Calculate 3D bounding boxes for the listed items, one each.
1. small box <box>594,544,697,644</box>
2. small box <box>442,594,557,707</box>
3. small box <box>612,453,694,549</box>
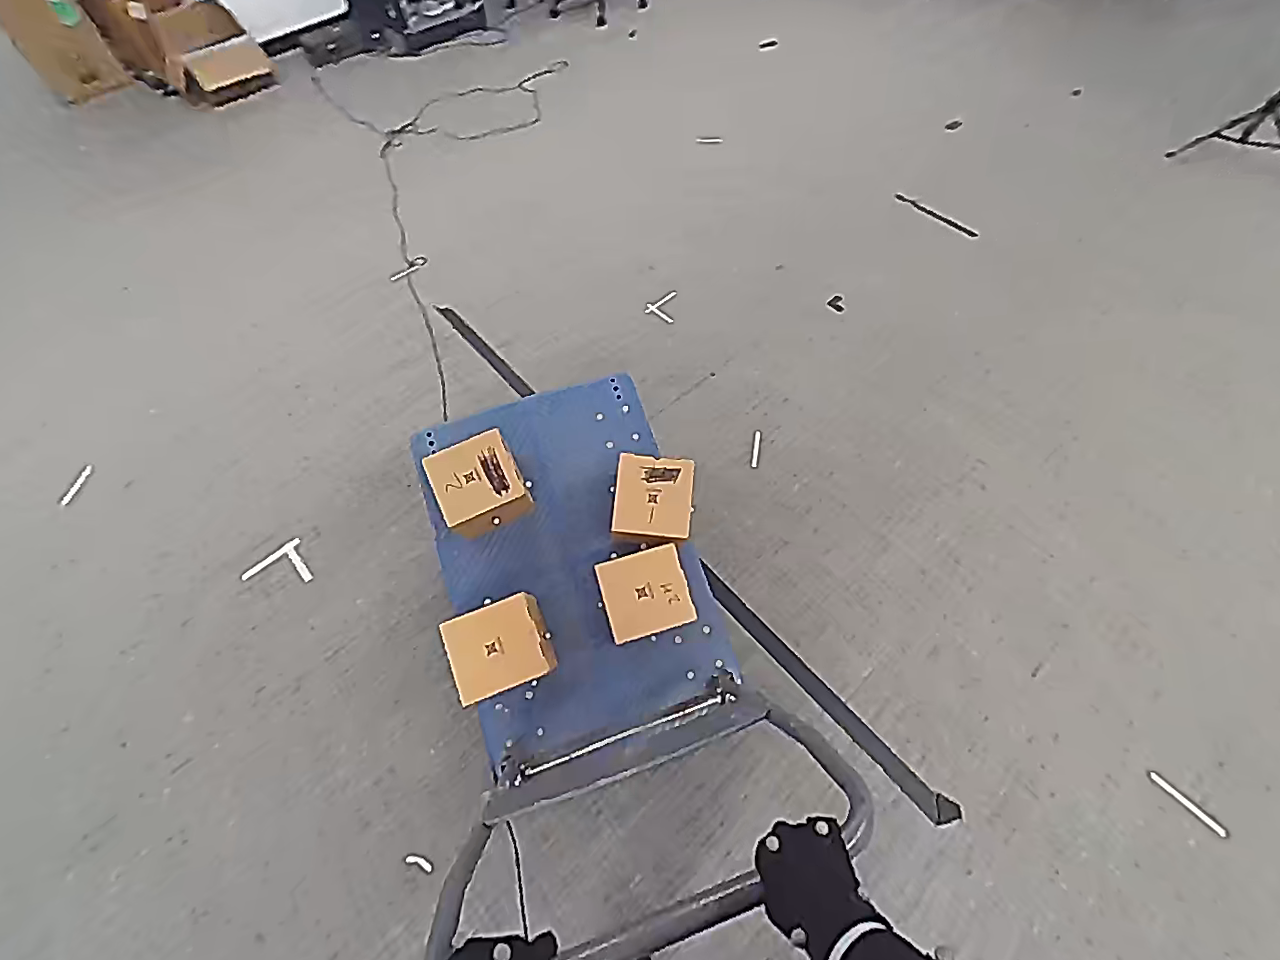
[{"bbox_3d":[0.009,0.251,1.176,0.179,0.176,0.168,-16,76,-7],"label":"small box"},{"bbox_3d":[-0.287,0.354,1.136,0.179,0.176,0.168,-21,77,-9],"label":"small box"},{"bbox_3d":[0.025,0.054,1.230,0.168,0.176,0.179,6,75,-1],"label":"small box"}]
